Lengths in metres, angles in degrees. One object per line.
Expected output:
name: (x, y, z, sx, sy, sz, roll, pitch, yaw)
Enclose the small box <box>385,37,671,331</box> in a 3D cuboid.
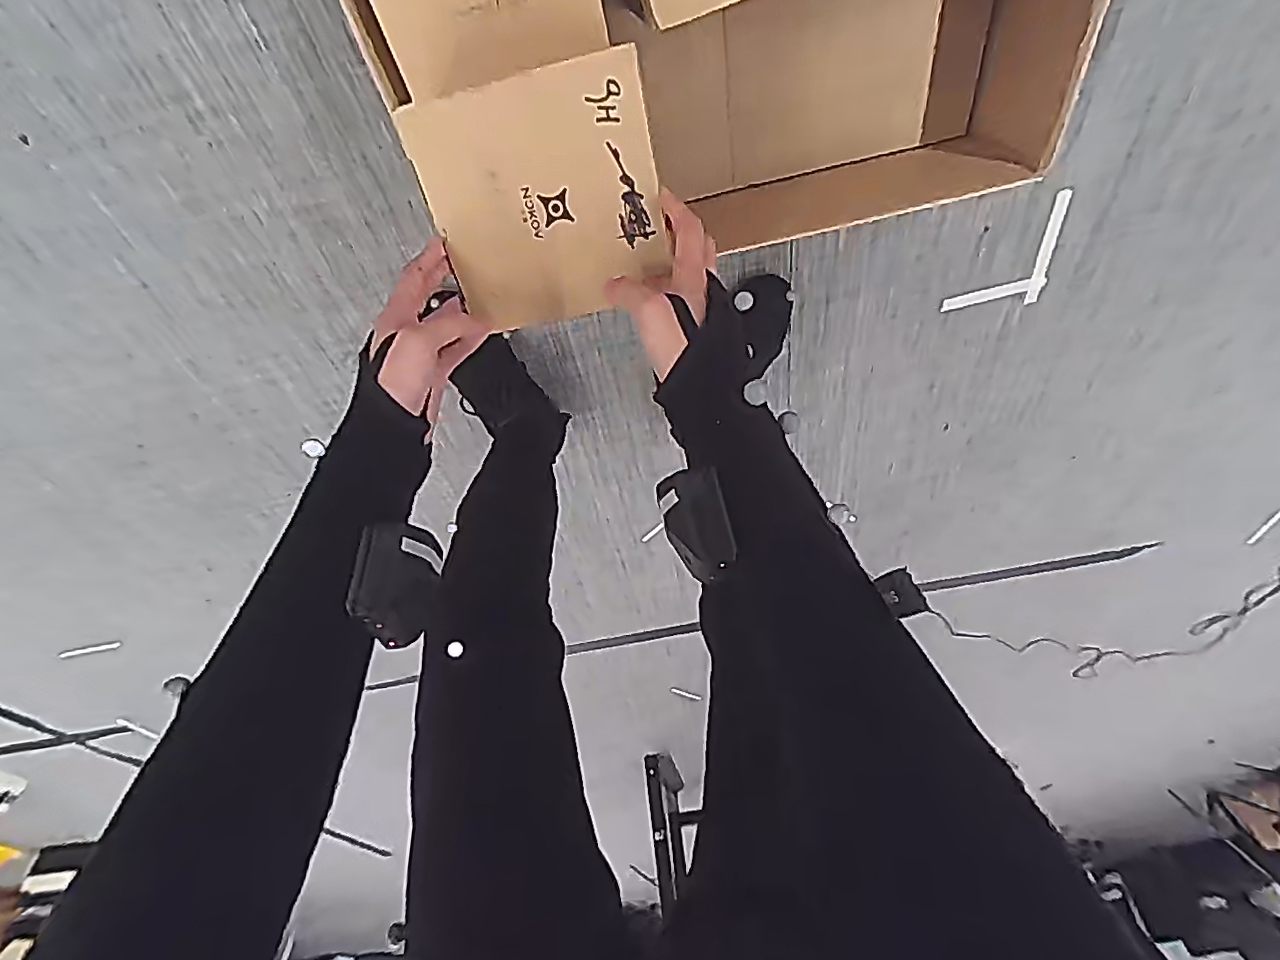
small box: (-0.072, -0.248, 0.463, 0.179, 0.176, 0.168, -10, 124, 8)
